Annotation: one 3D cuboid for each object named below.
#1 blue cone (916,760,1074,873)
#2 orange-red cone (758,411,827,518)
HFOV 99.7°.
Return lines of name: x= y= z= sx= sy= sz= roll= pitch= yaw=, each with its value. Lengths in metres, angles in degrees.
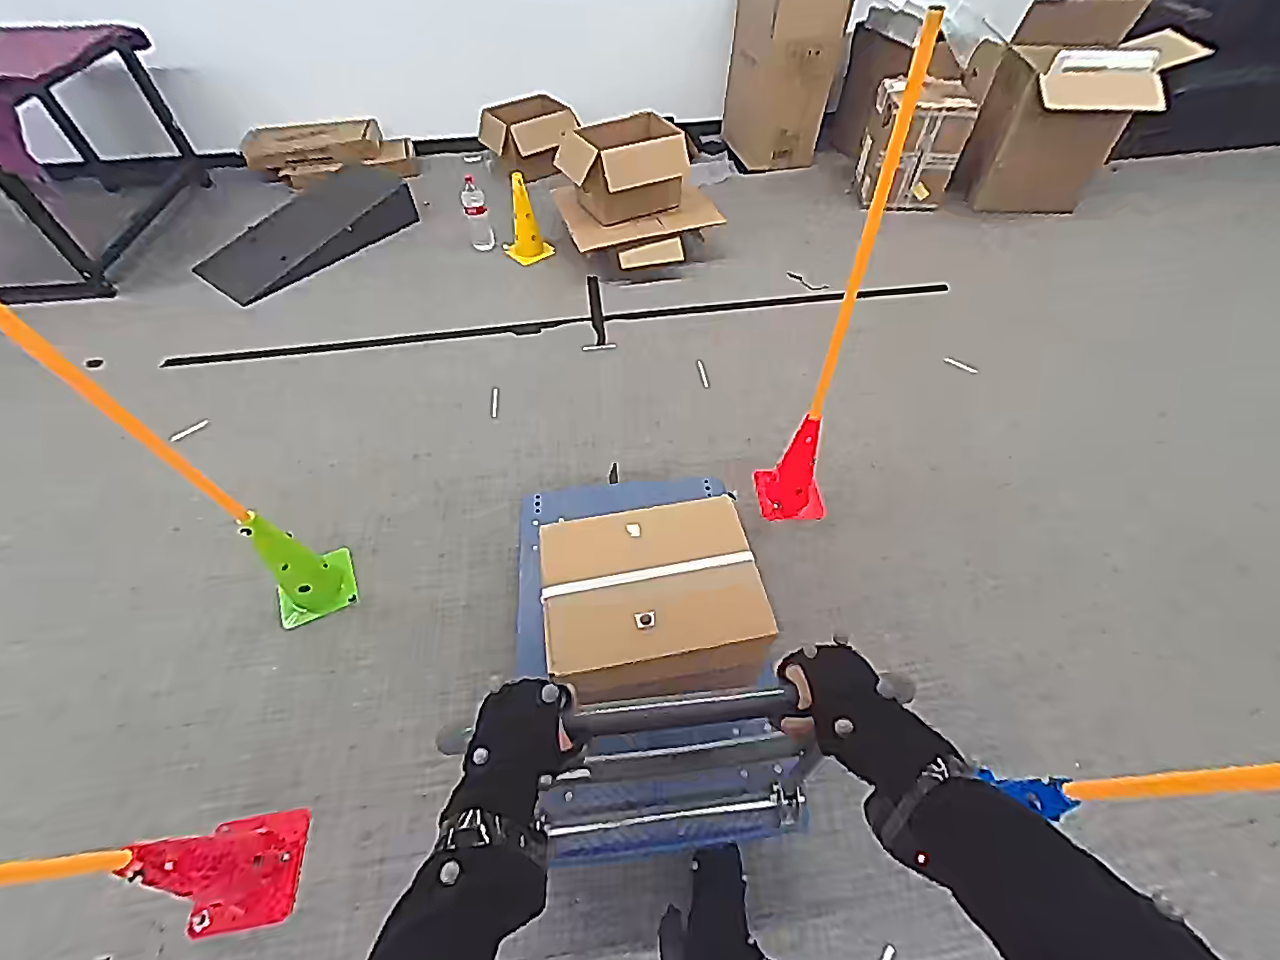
blue cone: x=0.728 y=0.632 z=1.060 sx=0.193 sy=0.380 sz=0.192 roll=-9 pitch=51 yaw=-7
orange-red cone: x=0.483 y=-0.066 z=1.591 sx=0.199 sy=0.360 sz=0.198 roll=-1 pitch=53 yaw=-1
